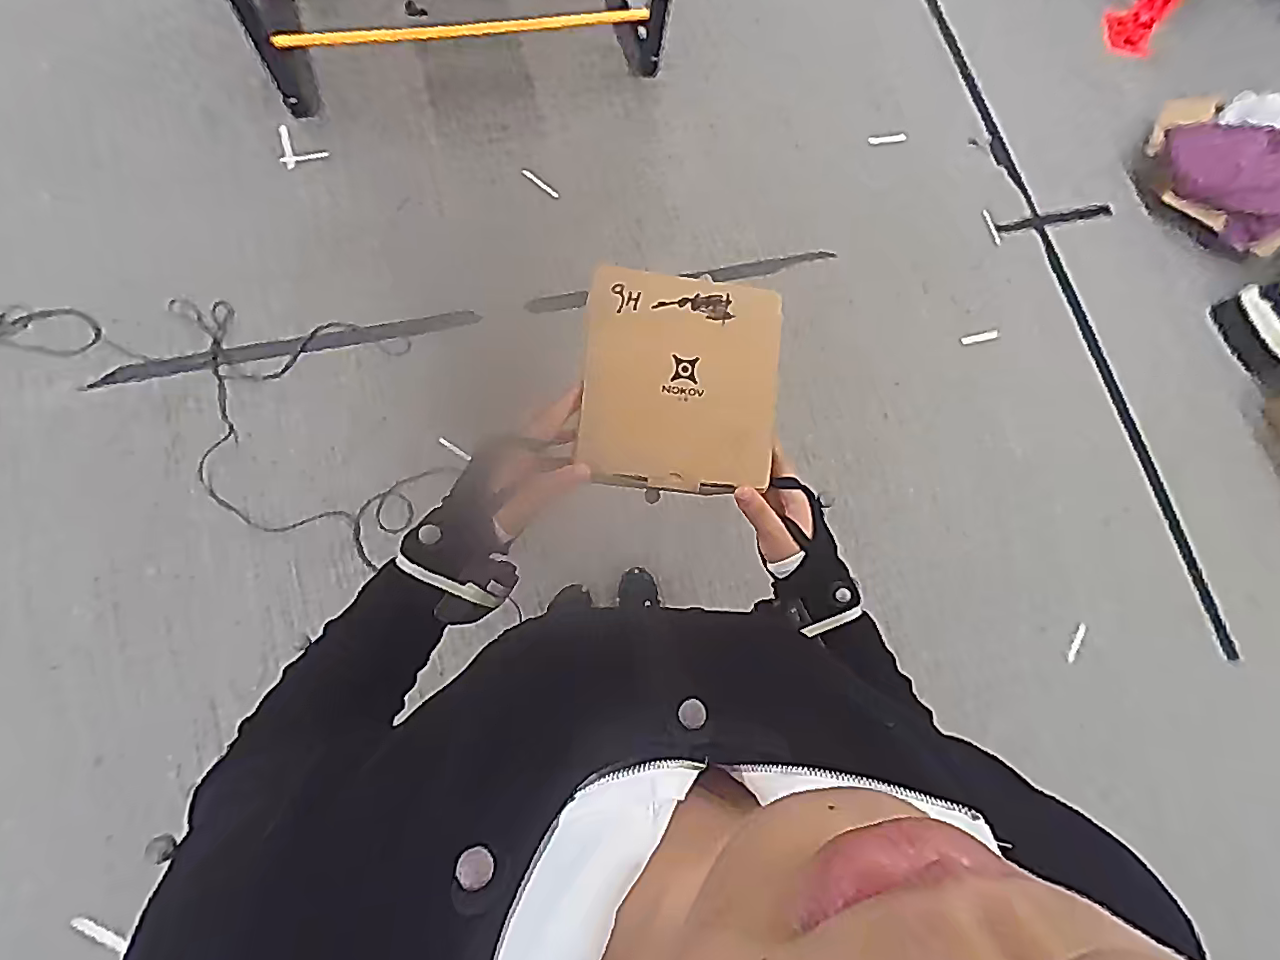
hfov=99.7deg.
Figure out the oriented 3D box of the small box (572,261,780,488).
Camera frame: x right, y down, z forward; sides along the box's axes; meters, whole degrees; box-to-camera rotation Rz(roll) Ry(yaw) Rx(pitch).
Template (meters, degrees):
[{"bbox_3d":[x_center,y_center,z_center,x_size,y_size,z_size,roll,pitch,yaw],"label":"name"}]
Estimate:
[{"bbox_3d":[0.021,-0.085,0.528,0.168,0.176,0.179,4,88,-9],"label":"small box"}]
